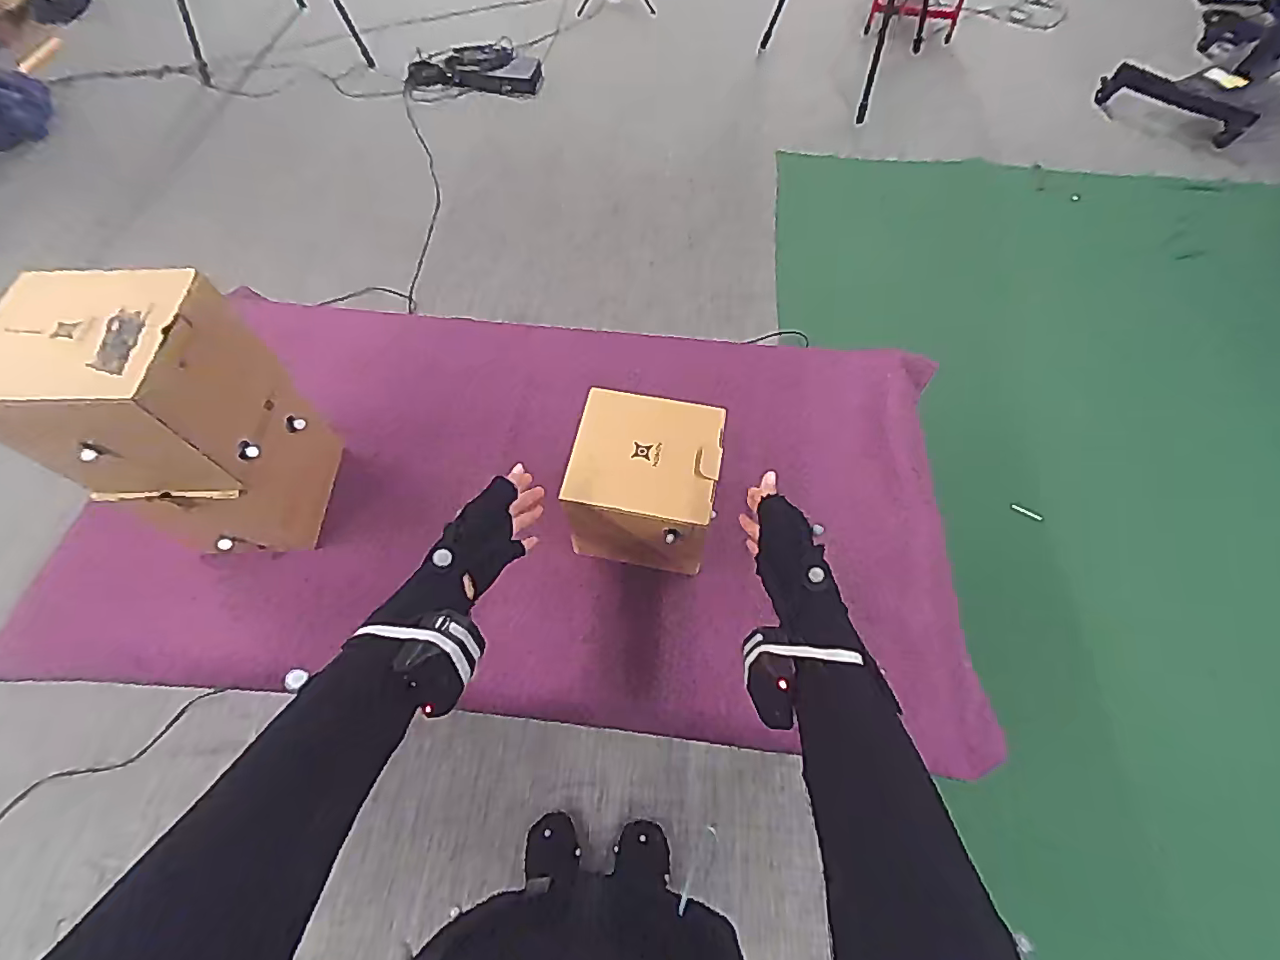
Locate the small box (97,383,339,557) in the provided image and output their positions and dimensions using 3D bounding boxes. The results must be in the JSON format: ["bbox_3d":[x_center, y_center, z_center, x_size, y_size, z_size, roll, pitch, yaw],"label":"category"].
[{"bbox_3d":[-0.533,-0.010,0.719,0.168,0.176,0.179,-1,61,-1],"label":"small box"}]

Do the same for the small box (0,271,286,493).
[{"bbox_3d":[-0.525,-0.096,0.576,0.179,0.176,0.168,1,59,0],"label":"small box"}]

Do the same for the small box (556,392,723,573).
[{"bbox_3d":[0.004,0.010,0.714,0.179,0.176,0.168,10,61,5],"label":"small box"}]
